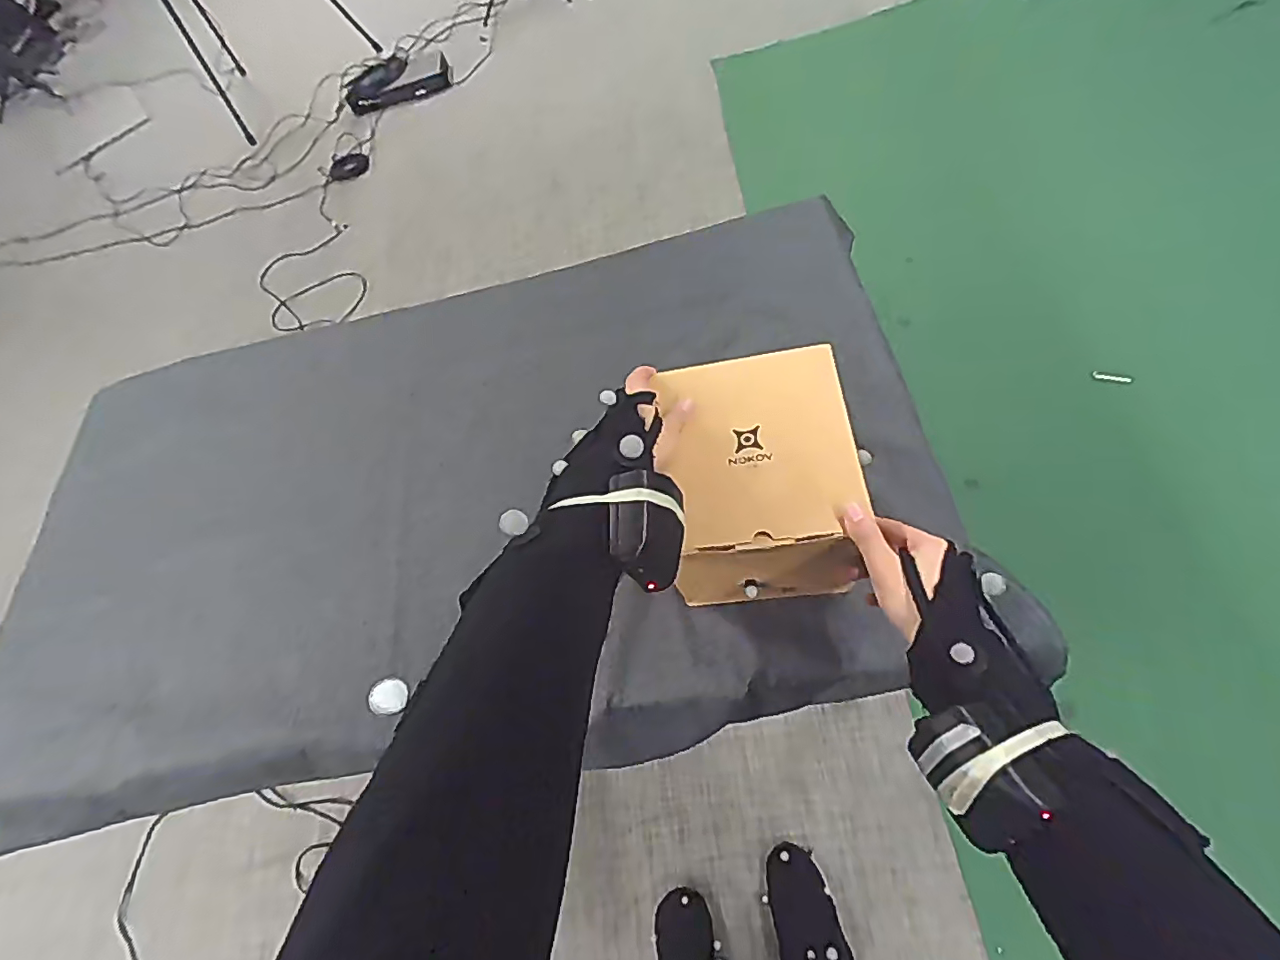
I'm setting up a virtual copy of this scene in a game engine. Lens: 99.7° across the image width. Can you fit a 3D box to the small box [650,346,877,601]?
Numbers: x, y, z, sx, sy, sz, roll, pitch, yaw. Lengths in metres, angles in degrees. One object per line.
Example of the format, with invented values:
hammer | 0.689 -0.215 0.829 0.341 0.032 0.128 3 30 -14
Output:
small box | 0.106 0.004 0.513 0.168 0.176 0.179 -8 63 10
